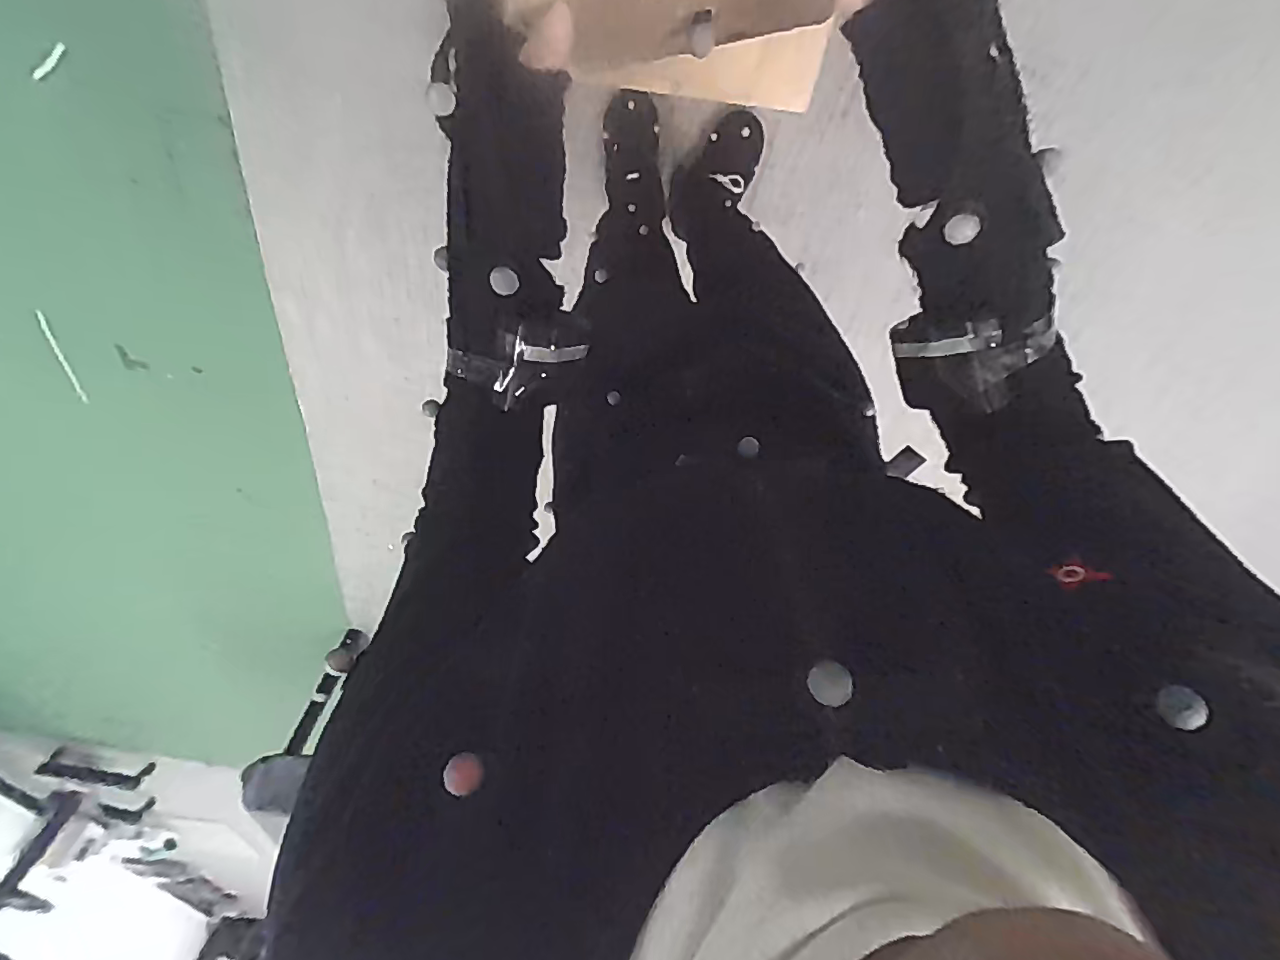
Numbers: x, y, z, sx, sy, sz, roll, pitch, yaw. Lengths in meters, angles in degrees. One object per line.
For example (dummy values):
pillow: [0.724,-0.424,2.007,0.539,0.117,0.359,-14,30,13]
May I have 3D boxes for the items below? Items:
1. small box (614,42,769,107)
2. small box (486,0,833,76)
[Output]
small box: [0.071,-0.579,0.656,0.179,0.176,0.168,8,134,-3]
small box: [0.013,-0.313,0.251,0.168,0.176,0.179,-5,118,12]
